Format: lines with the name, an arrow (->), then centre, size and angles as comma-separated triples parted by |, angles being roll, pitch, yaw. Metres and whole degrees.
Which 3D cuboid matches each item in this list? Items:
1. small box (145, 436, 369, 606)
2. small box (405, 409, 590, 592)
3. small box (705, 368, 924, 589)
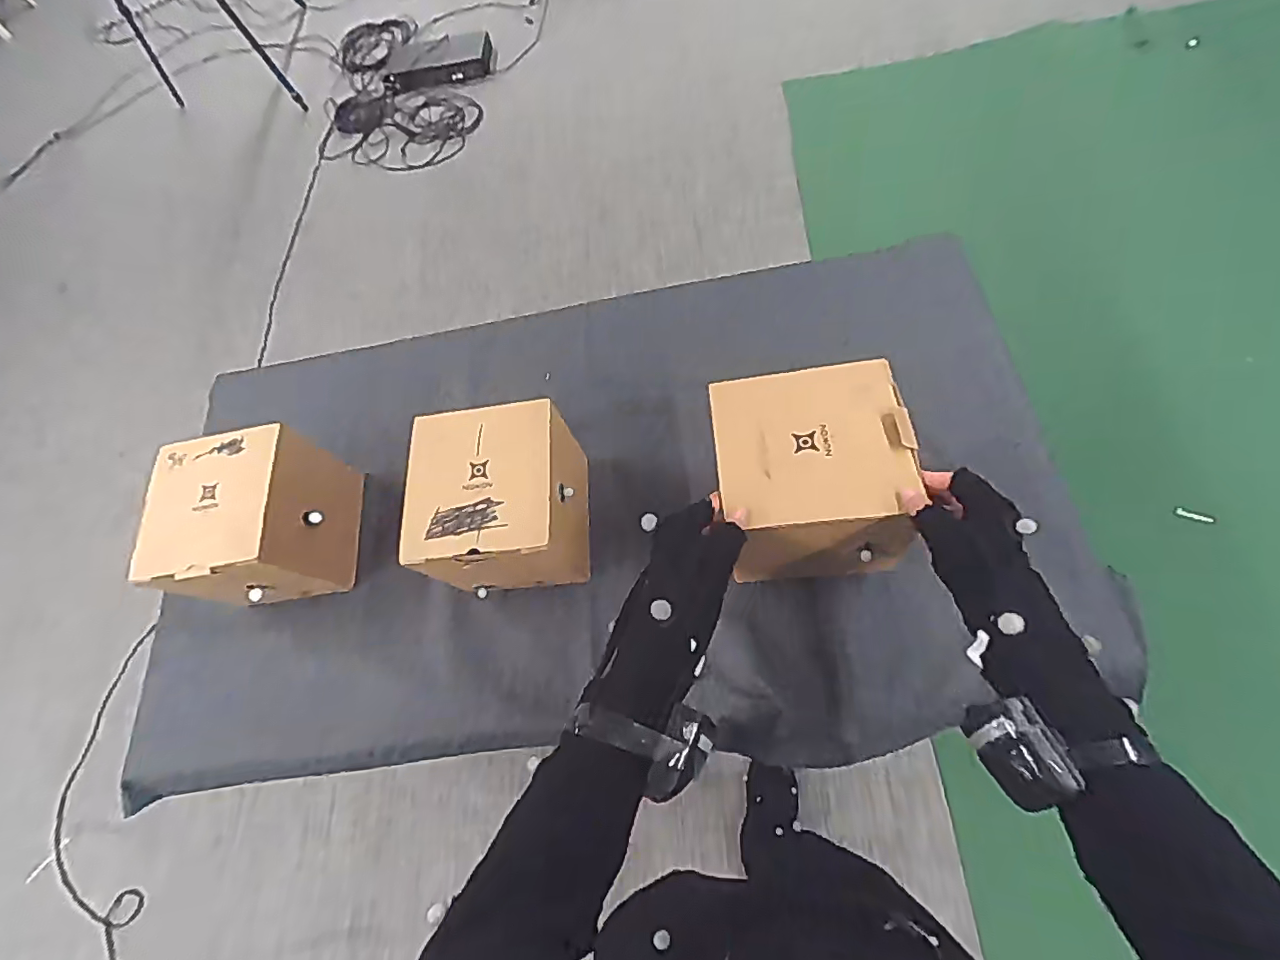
small box -> -0.487, 0.066, 0.717 | 0.168, 0.176, 0.179 | -10, 67, 6
small box -> -0.161, 0.037, 0.666 | 0.168, 0.176, 0.179 | -7, 66, 8
small box -> 0.172, 0.009, 0.577 | 0.179, 0.176, 0.168 | -9, 61, 11
